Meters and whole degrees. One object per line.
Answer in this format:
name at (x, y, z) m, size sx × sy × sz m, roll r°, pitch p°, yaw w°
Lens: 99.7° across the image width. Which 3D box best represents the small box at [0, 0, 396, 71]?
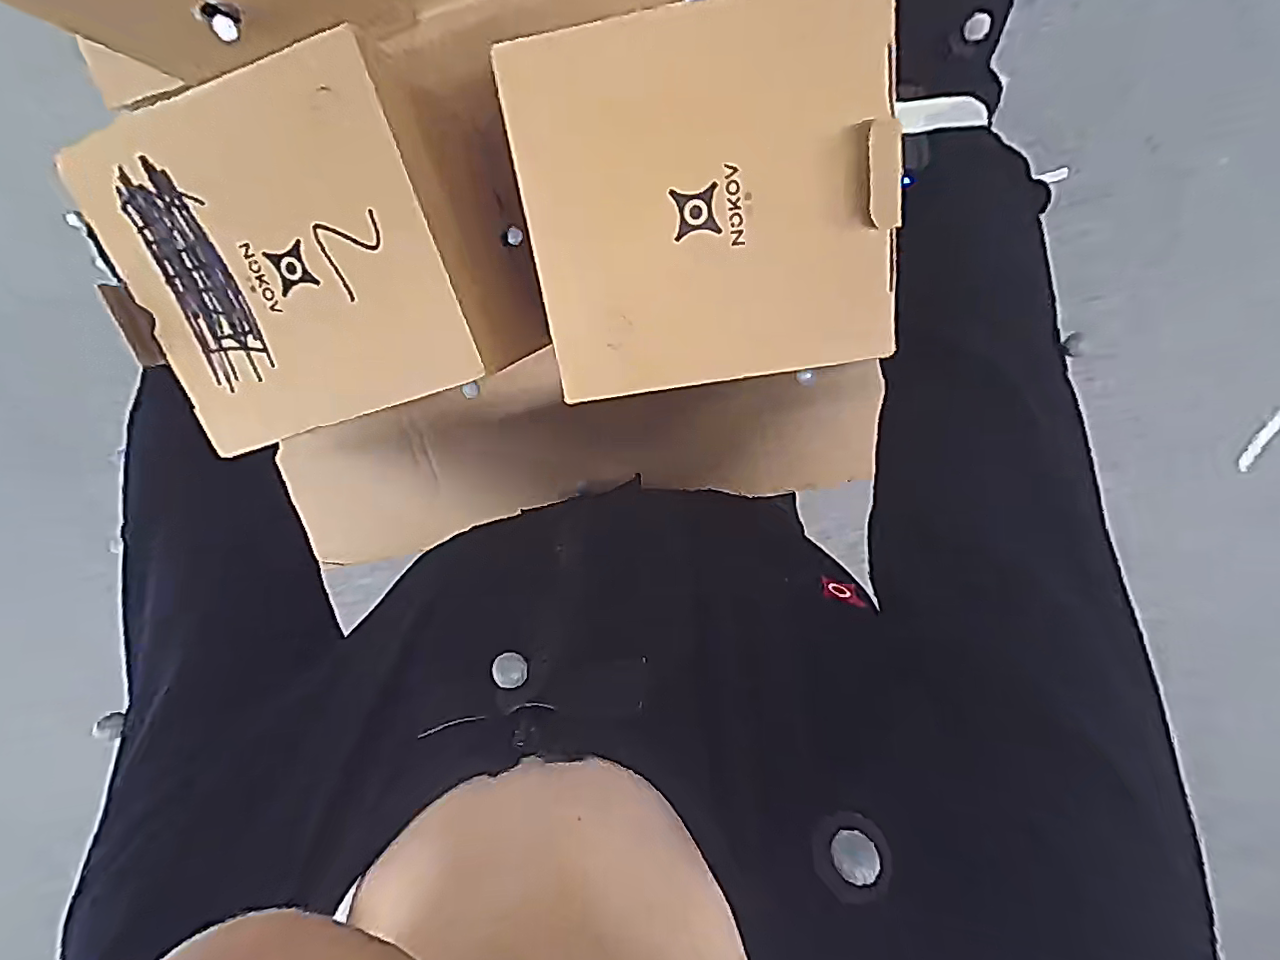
small box at (-0.266, -0.358, 0.289) m, size 0.168 × 0.176 × 0.179 m, roll -11°, pitch 107°, yaw 9°
